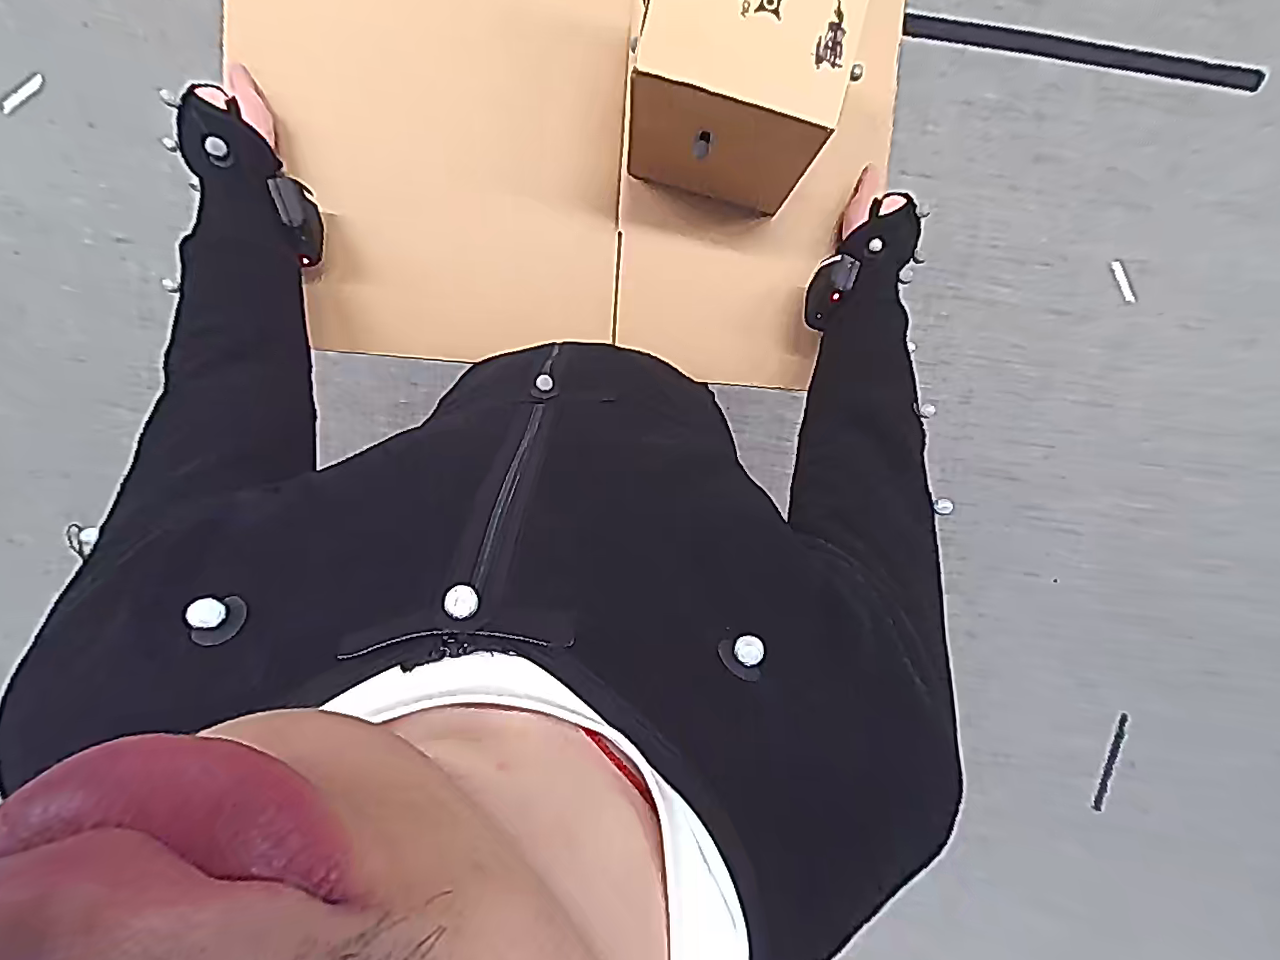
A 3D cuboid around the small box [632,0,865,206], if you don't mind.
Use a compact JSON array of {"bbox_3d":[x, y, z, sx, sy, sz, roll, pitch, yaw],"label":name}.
[{"bbox_3d":[0.094,-0.395,0.523,0.179,0.176,0.168,14,93,-3],"label":"small box"}]
